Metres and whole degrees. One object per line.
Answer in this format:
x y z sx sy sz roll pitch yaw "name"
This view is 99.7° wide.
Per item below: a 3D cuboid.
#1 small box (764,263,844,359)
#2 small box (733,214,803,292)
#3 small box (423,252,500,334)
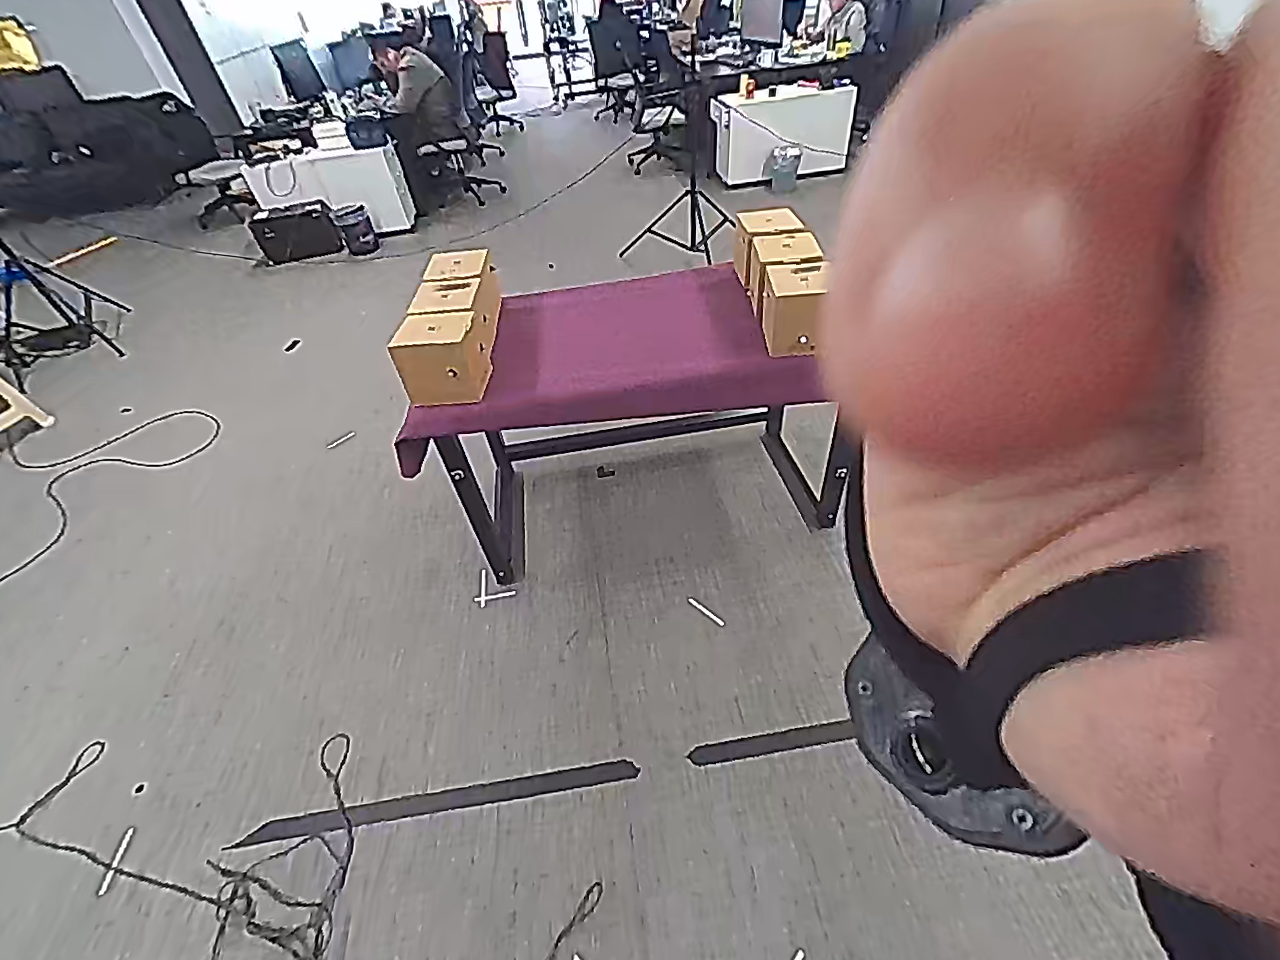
0.410 -0.429 1.381 0.168 0.176 0.179 -3 48 8 "small box"
0.385 -0.696 1.658 0.168 0.176 0.179 -6 43 -1 "small box"
-0.522 -0.556 1.611 0.168 0.176 0.179 -6 45 0 "small box"
